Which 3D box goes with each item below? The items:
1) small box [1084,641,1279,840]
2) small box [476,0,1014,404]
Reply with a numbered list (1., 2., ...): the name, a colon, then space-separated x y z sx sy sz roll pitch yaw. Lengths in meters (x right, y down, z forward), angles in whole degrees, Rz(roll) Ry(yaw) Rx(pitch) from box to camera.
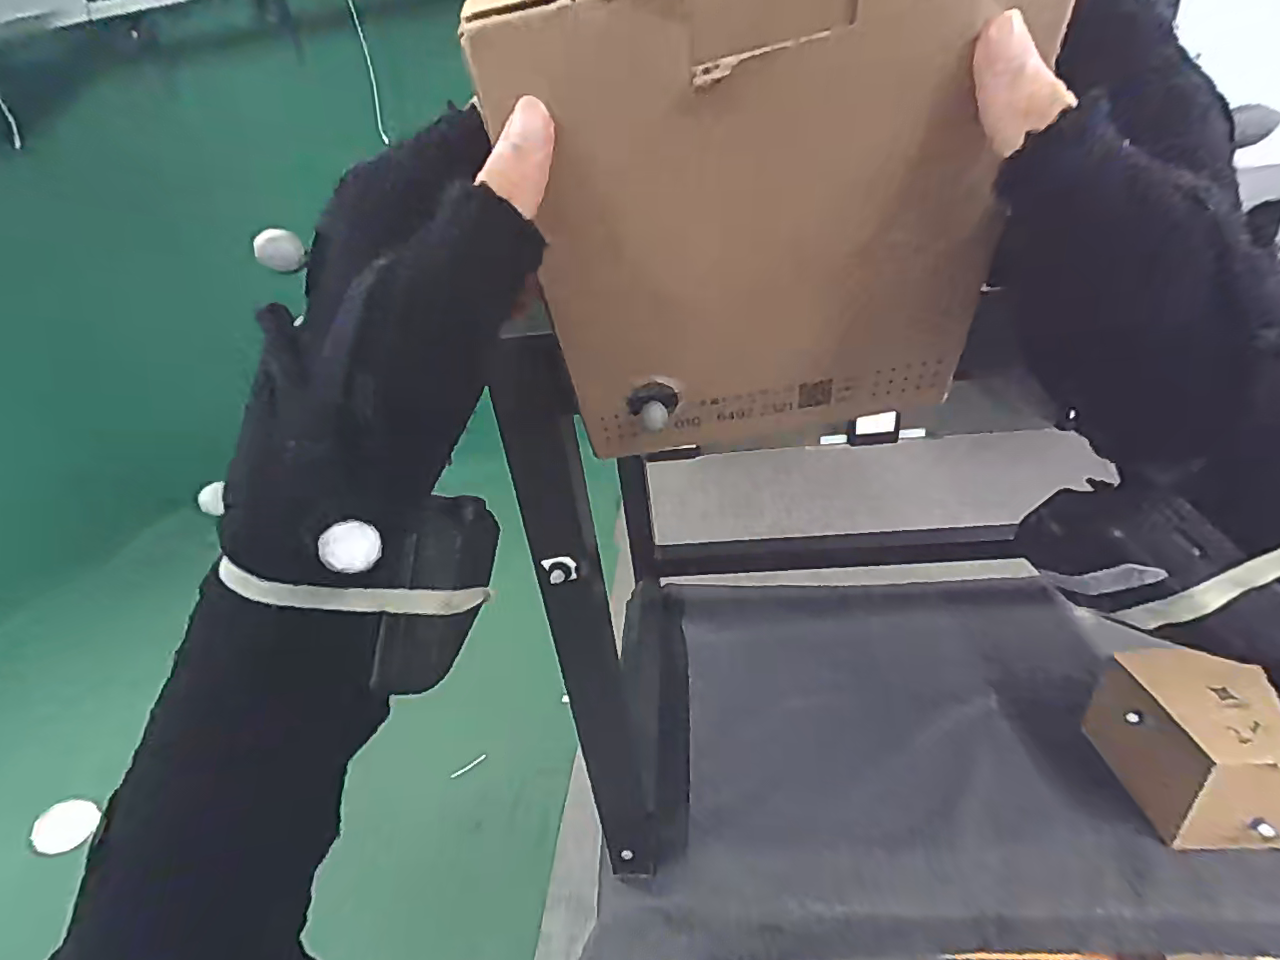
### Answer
1. small box: 0.744 0.340 0.719 0.168 0.176 0.179 -5 27 7
2. small box: 0.041 -0.151 0.259 0.168 0.176 0.179 -8 45 4
